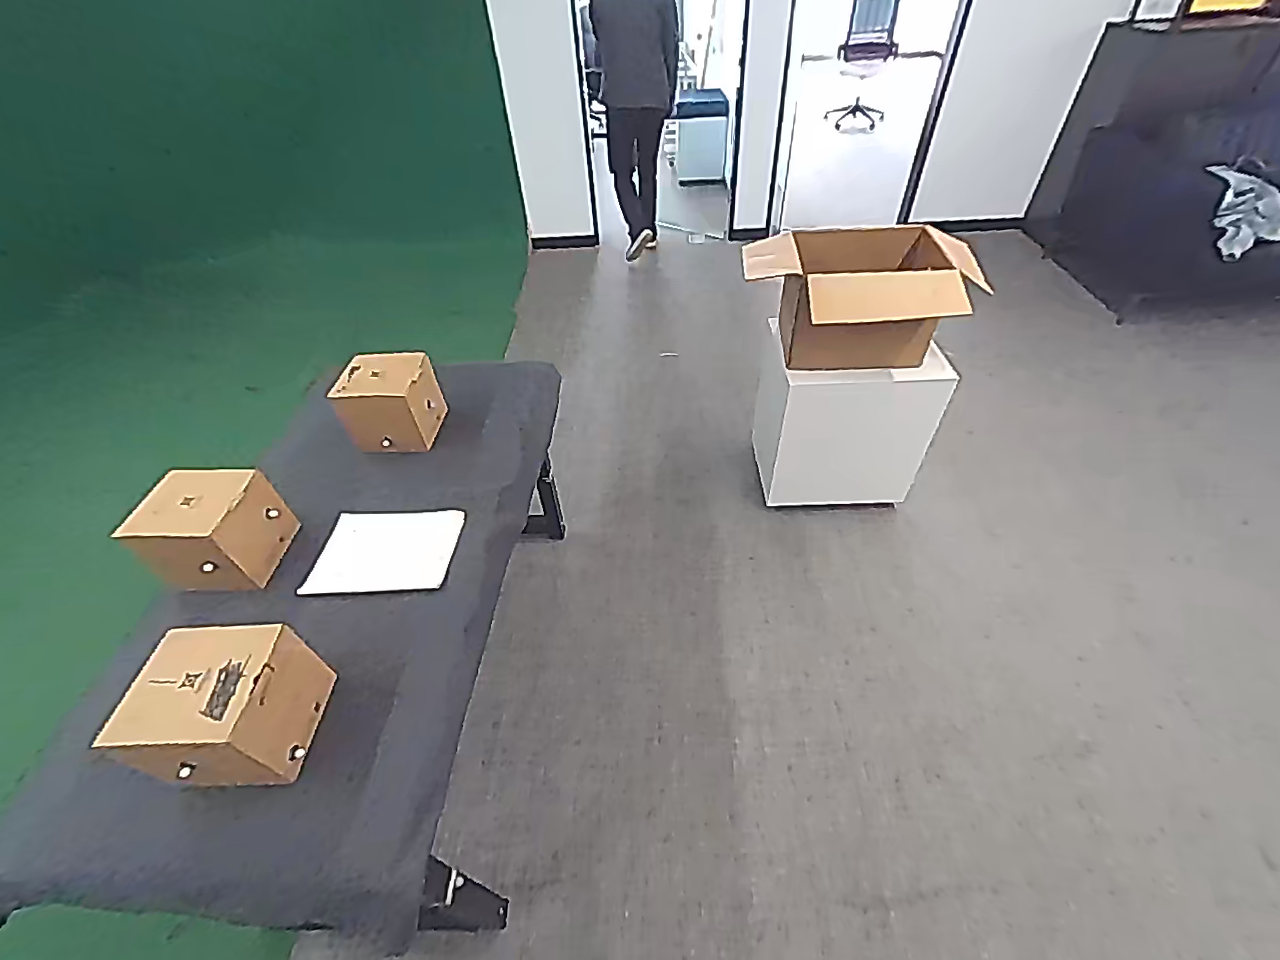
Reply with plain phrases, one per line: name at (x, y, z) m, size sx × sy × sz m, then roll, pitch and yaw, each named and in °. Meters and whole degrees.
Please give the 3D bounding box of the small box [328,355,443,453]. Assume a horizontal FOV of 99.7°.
small box at (-0.587, -0.177, 1.277) m, size 0.179 × 0.176 × 0.168 m, roll 0°, pitch 45°, yaw 2°

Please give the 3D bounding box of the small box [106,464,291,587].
small box at (-0.801, 0.087, 1.009) m, size 0.179 × 0.176 × 0.168 m, roll -2°, pitch 44°, yaw 2°

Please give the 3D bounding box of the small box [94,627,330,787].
small box at (-0.591, 0.328, 0.781) m, size 0.179 × 0.176 × 0.168 m, roll -2°, pitch 45°, yaw 1°
